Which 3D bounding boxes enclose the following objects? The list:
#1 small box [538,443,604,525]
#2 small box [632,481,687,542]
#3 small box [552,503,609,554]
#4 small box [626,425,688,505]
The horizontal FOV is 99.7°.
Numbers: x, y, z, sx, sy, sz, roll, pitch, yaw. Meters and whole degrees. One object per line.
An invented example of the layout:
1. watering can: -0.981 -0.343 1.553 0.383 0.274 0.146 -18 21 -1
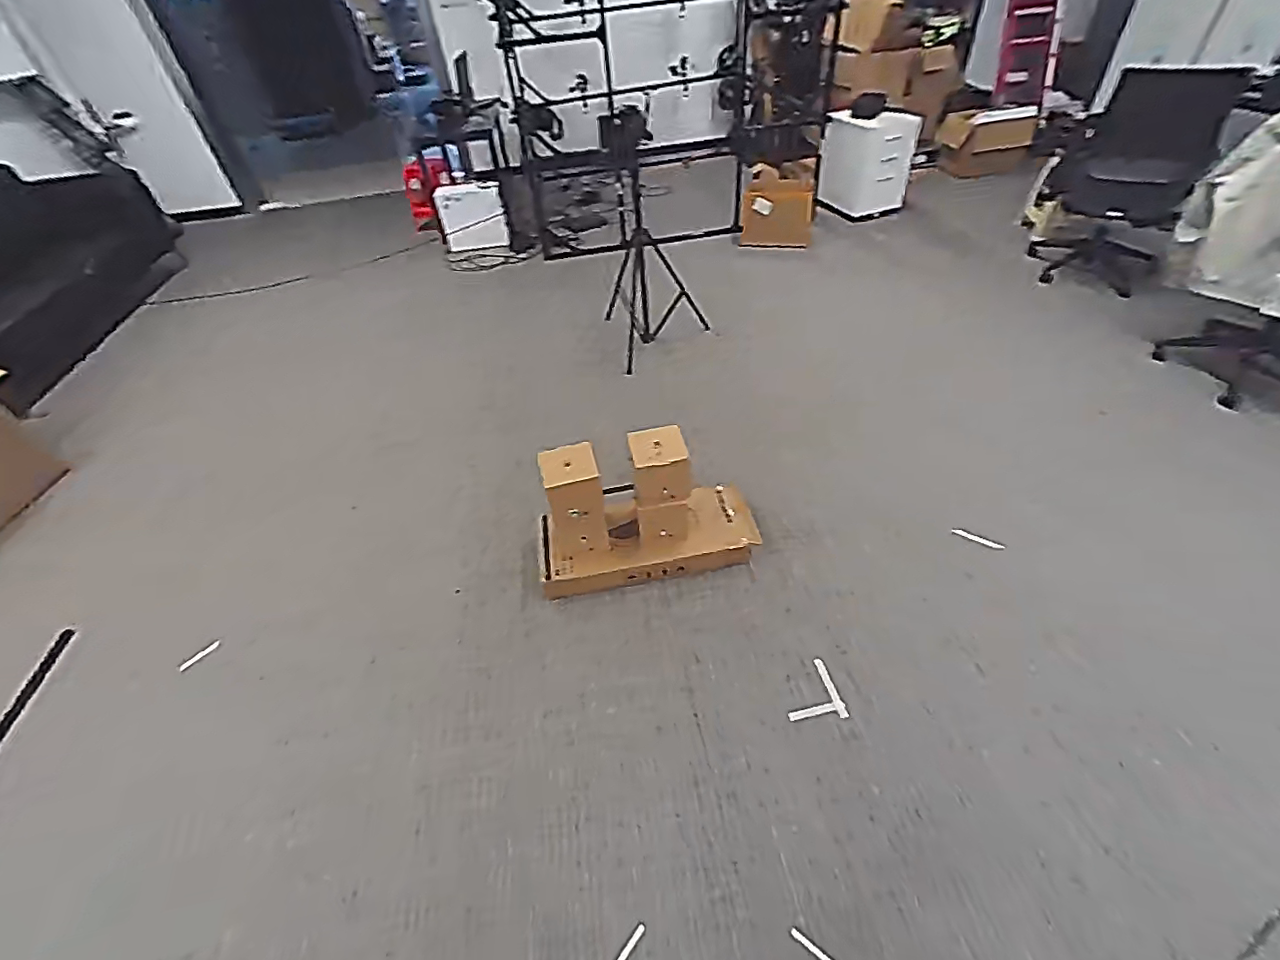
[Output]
1. small box: -0.215 0.014 1.694 0.168 0.176 0.179 -14 44 -8
2. small box: 0.065 0.084 1.825 0.168 0.176 0.179 -8 44 -1
3. small box: -0.199 0.130 1.808 0.168 0.176 0.179 -9 44 -4
4. small box: 0.054 -0.046 1.723 0.168 0.176 0.179 -11 43 -4
